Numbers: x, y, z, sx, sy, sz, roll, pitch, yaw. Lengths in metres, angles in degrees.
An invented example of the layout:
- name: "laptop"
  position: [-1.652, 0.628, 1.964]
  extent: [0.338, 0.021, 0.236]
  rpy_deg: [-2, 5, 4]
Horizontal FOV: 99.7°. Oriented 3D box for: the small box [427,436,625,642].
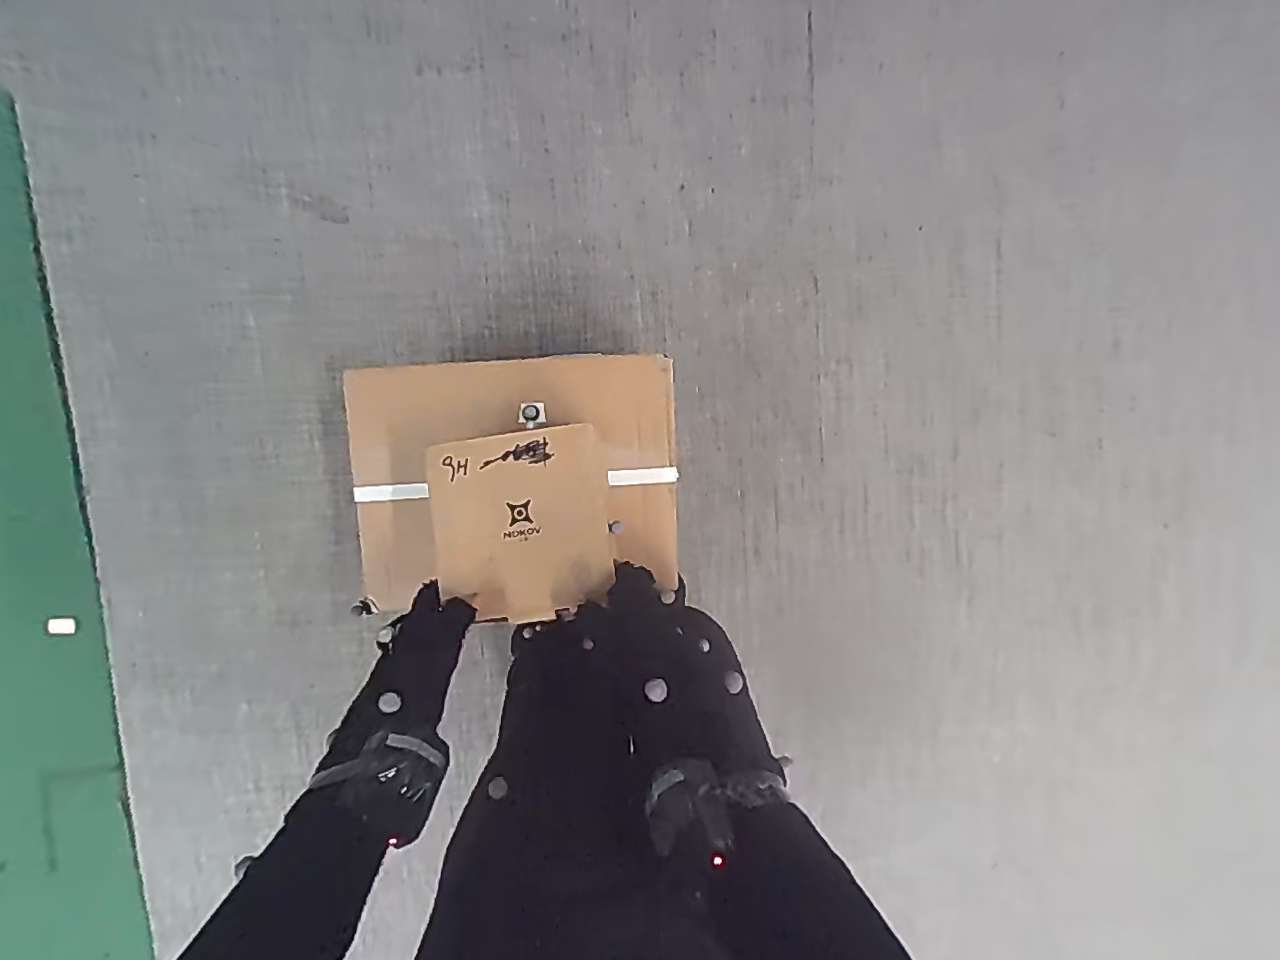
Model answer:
- name: "small box"
  position: [-0.111, 0.063, 0.587]
  extent: [0.168, 0.176, 0.179]
  rpy_deg: [-9, 82, 0]
